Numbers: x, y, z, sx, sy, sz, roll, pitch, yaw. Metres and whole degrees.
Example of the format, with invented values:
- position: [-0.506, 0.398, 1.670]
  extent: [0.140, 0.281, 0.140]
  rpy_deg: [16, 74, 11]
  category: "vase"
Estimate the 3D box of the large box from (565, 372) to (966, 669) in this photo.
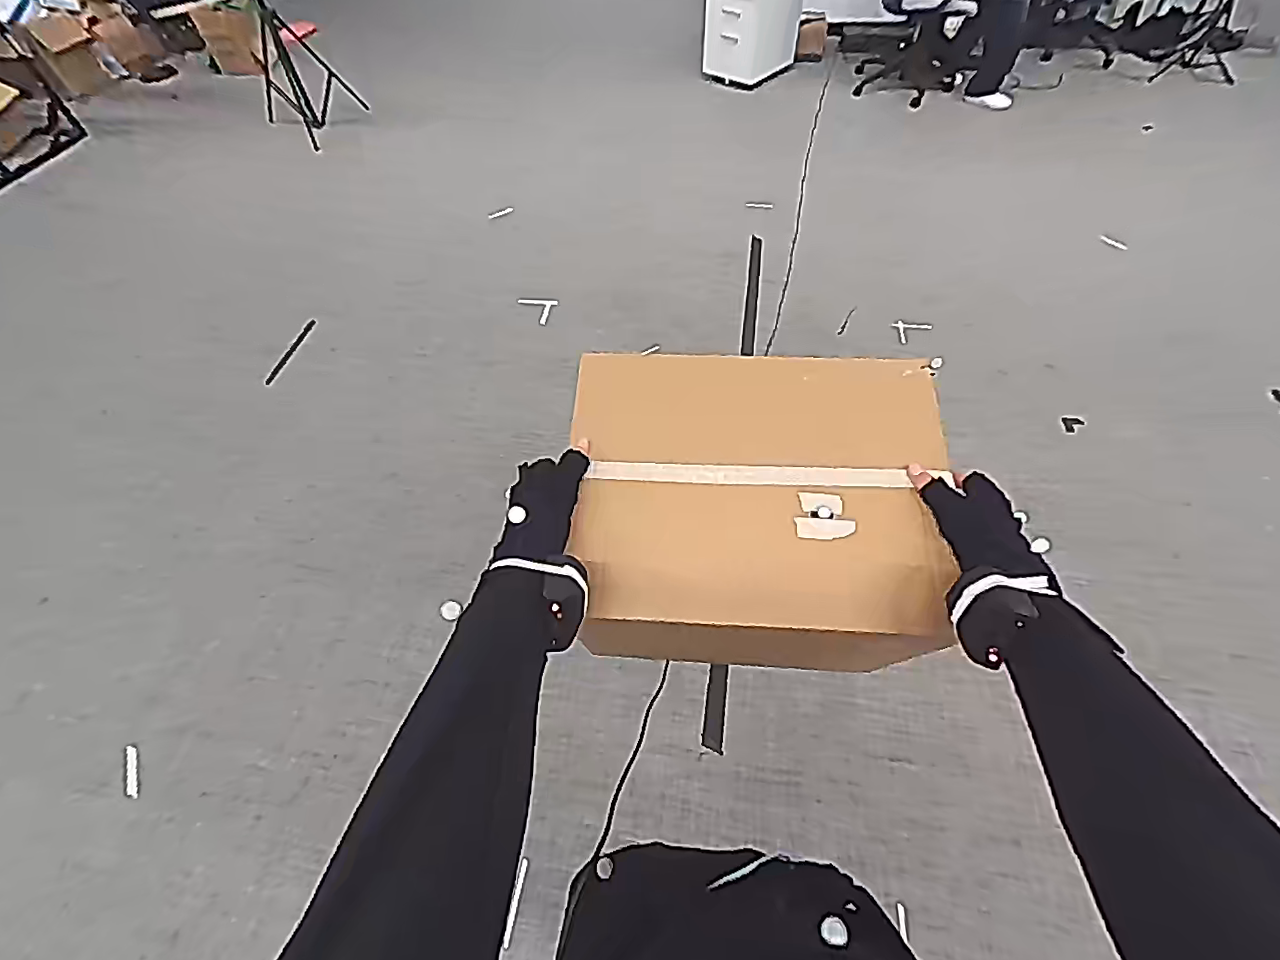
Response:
- position: [0.130, 0.072, 0.729]
  extent: [0.408, 0.320, 0.320]
  rpy_deg: [2, 66, 3]
  category: "large box"
